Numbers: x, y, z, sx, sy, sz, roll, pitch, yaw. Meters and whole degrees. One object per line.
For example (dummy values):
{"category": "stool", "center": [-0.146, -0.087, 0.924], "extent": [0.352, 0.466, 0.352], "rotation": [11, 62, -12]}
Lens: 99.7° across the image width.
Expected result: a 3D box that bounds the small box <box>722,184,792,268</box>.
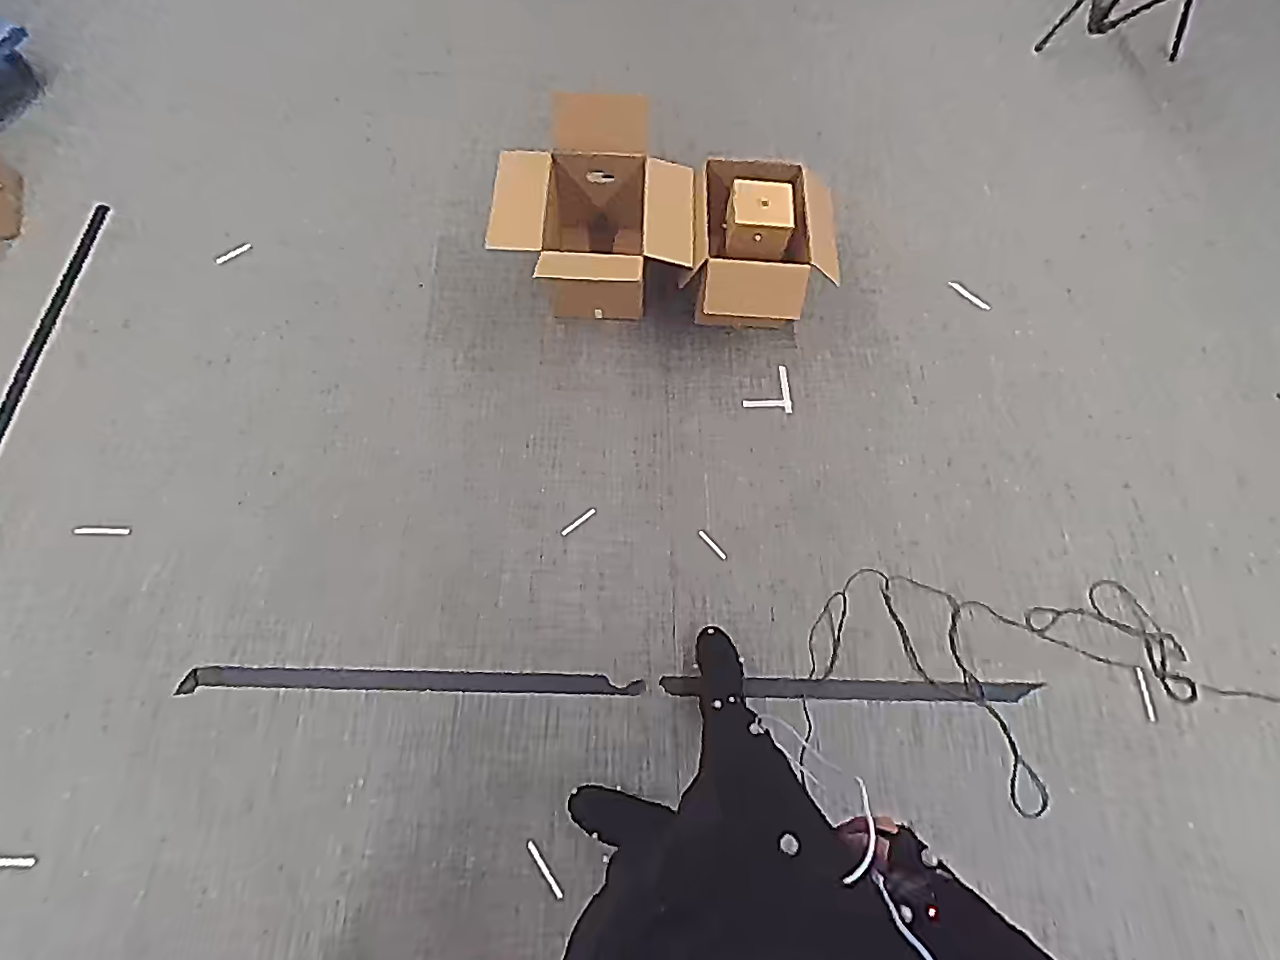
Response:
{"category": "small box", "center": [0.354, -0.775, 1.661], "extent": [0.179, 0.176, 0.168], "rotation": [3, 72, -1]}
